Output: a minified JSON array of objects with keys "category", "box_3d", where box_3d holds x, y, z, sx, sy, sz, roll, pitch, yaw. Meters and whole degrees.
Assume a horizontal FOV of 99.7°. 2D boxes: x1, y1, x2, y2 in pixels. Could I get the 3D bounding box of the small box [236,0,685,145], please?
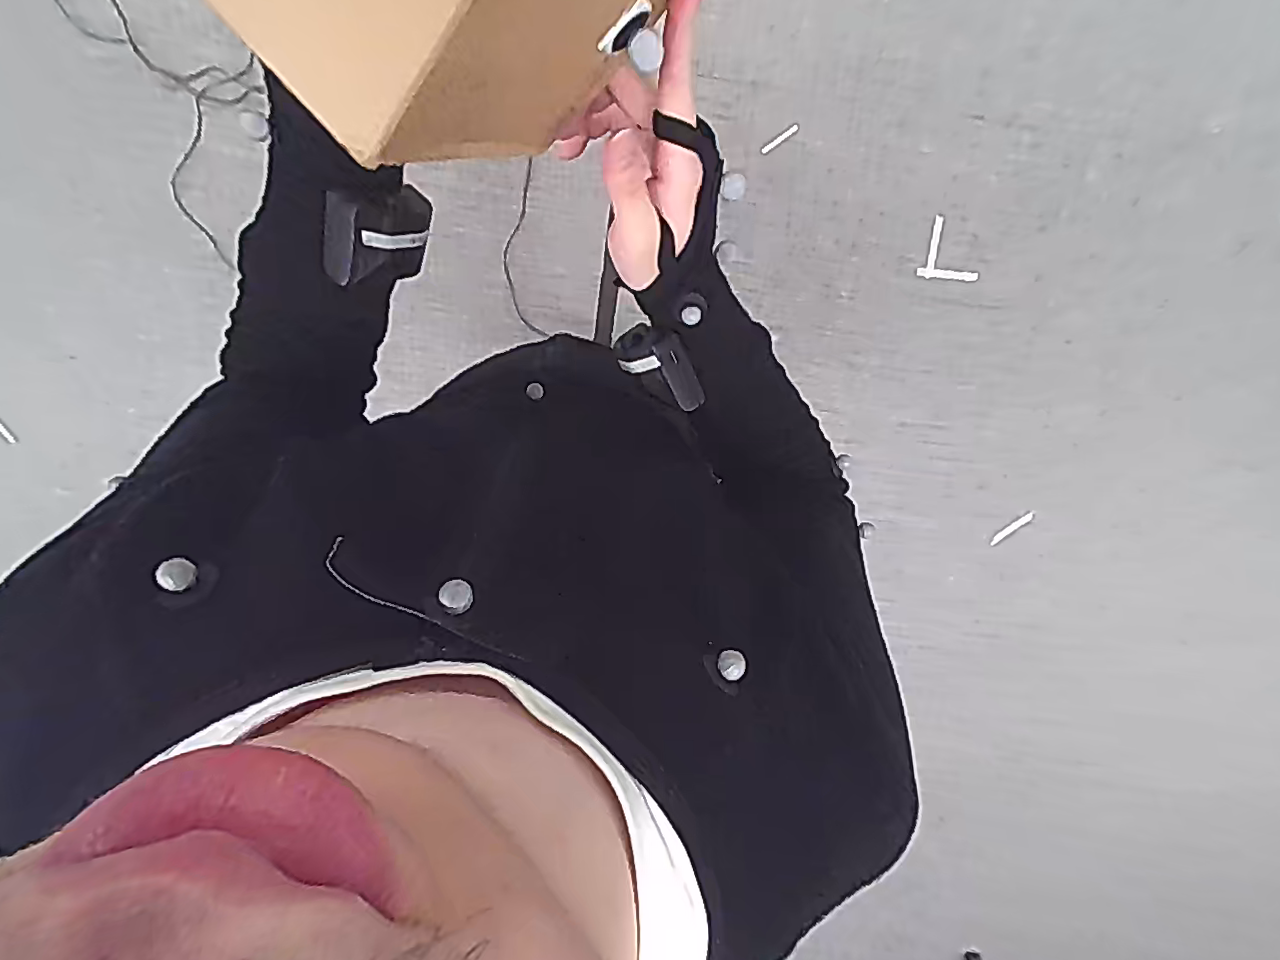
[{"category":"small box","box_3d":[-0.061,-0.240,0.171,0.168,0.176,0.179,-36,109,29]}]
